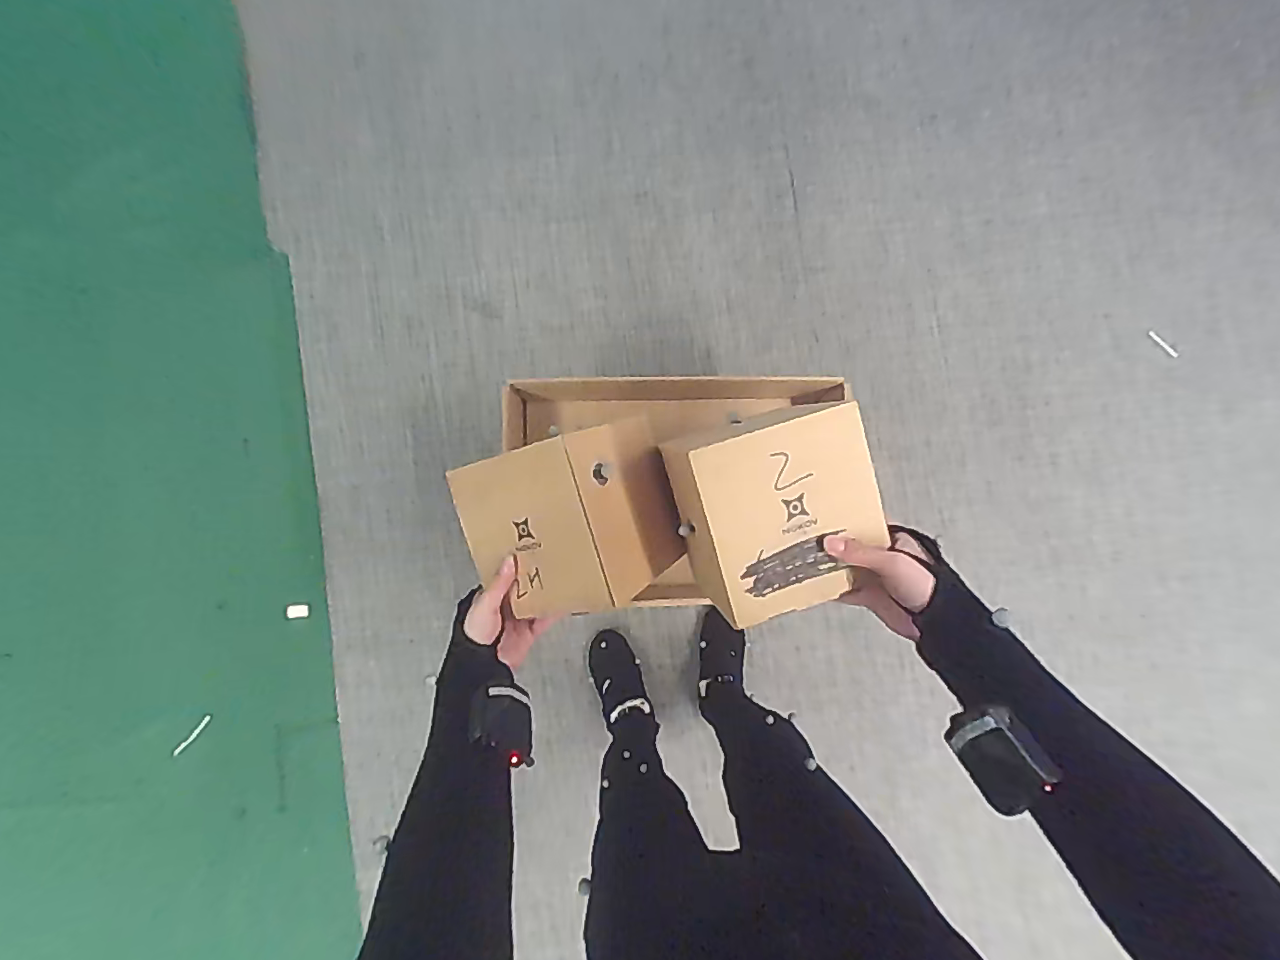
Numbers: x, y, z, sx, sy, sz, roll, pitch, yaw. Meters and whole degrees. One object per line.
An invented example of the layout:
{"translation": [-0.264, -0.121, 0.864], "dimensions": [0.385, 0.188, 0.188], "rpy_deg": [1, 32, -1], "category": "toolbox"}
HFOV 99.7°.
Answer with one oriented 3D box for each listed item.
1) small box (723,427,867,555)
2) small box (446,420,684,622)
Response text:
{"translation": [0.224, 0.018, 0.820], "dimensions": [0.168, 0.176, 0.179], "rpy_deg": [-1, 85, -4], "category": "small box"}
{"translation": [-0.073, 0.037, 0.596], "dimensions": [0.168, 0.176, 0.179], "rpy_deg": [-13, 97, 32], "category": "small box"}
